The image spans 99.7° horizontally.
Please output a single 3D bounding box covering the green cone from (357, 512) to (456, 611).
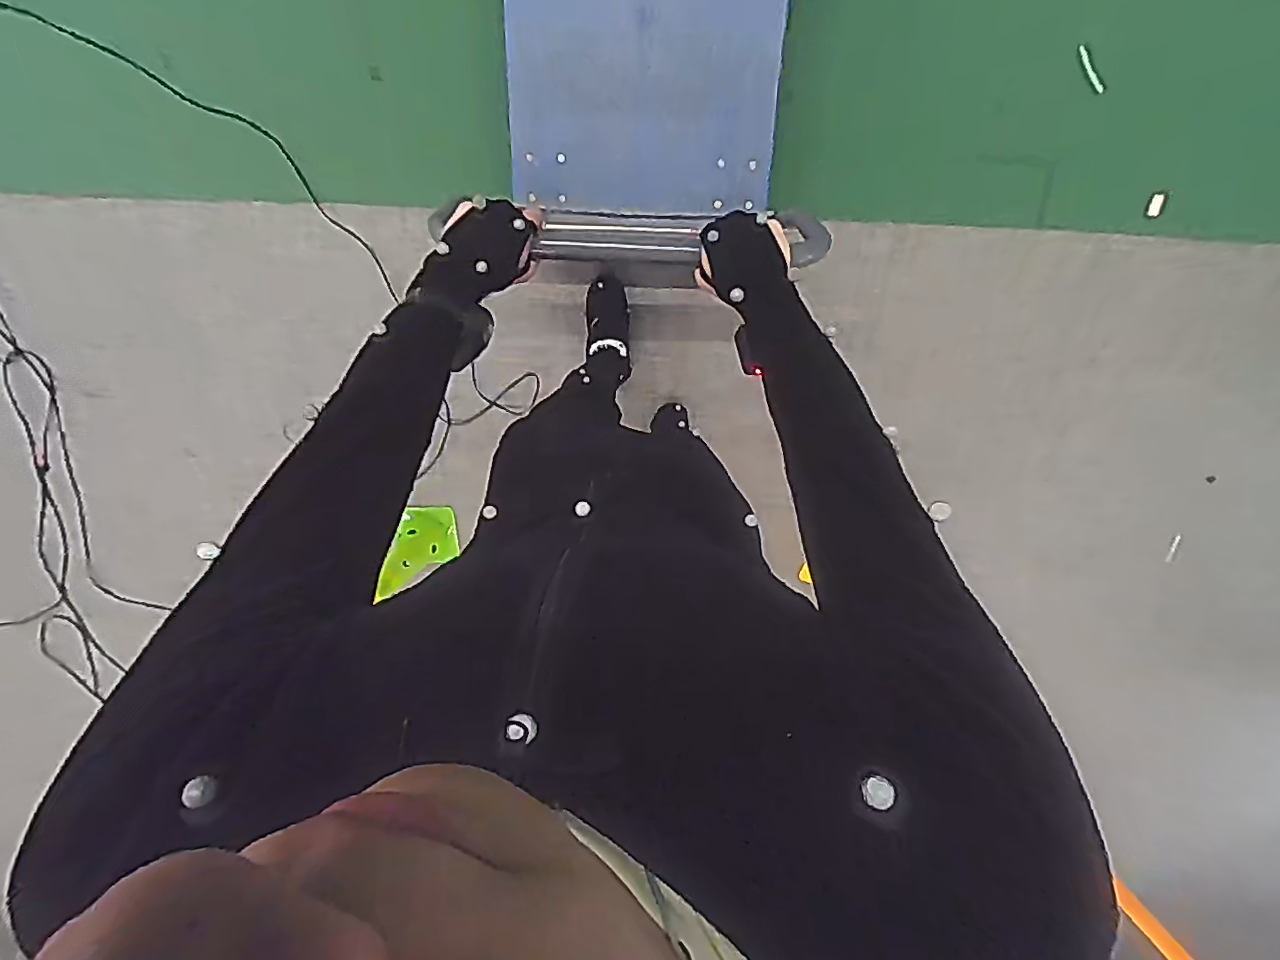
[{"bbox_3d":[-0.704,0.256,1.571,0.202,0.368,0.200,-1,111,3],"label":"green cone"}]
